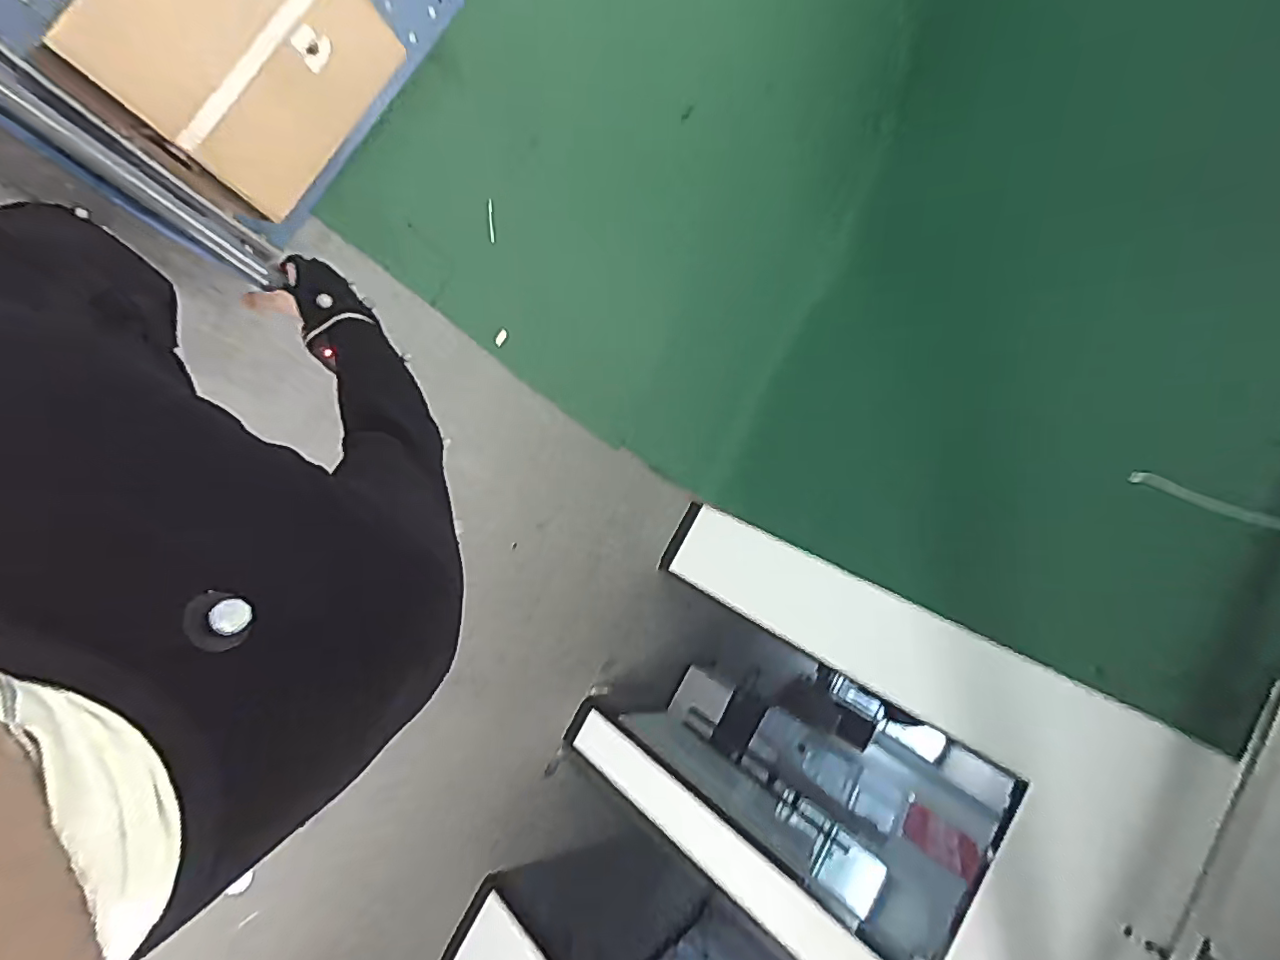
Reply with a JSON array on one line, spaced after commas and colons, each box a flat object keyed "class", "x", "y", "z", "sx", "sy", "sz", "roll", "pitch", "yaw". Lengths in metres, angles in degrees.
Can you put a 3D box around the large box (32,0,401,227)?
[{"class": "large box", "x": -0.712, "y": -0.714, "z": 0.932, "sx": 0.408, "sy": 0.320, "sz": 0.320, "roll": -60, "pitch": 146, "yaw": -8}]
